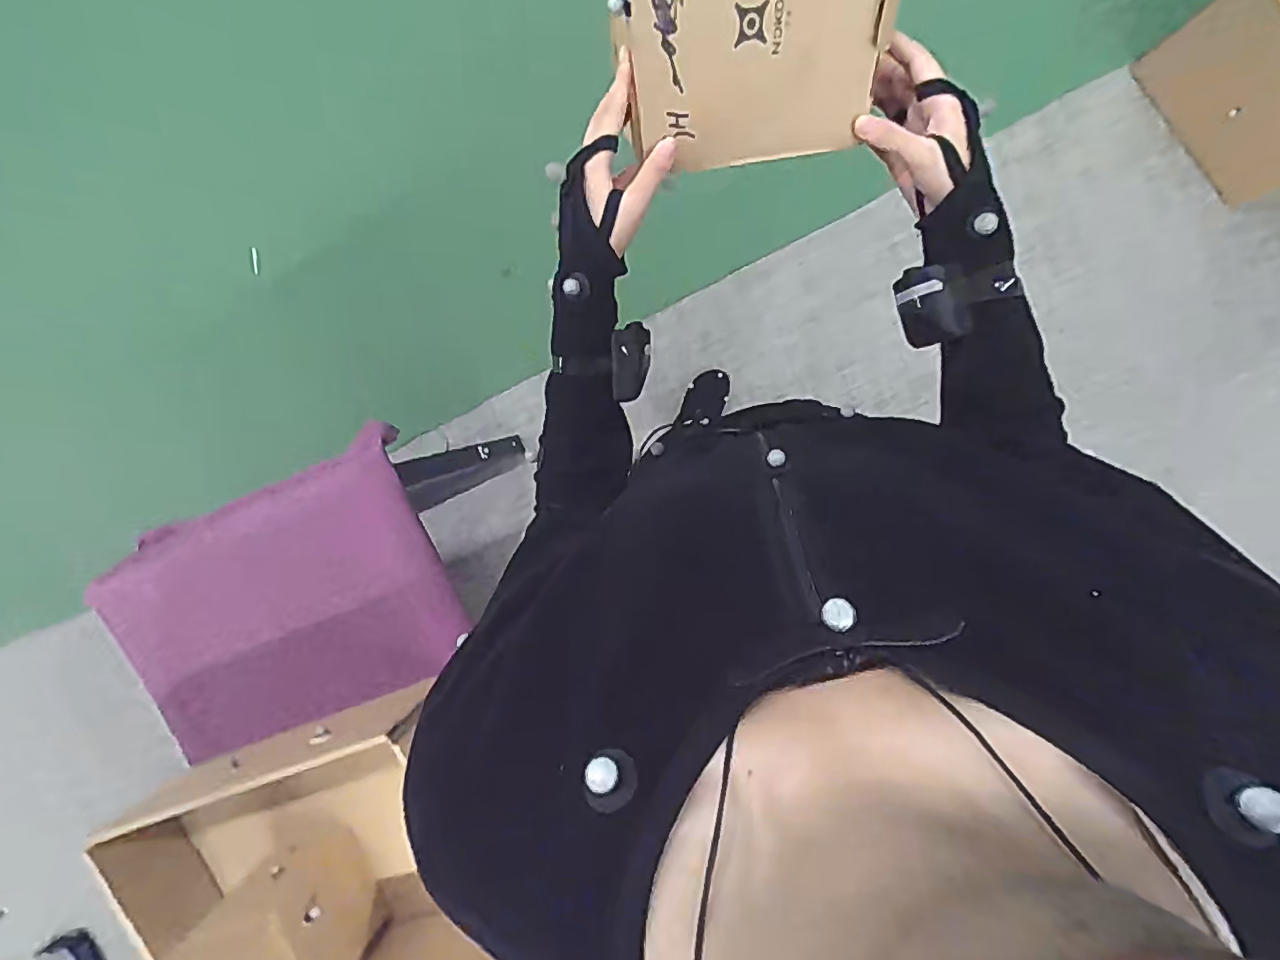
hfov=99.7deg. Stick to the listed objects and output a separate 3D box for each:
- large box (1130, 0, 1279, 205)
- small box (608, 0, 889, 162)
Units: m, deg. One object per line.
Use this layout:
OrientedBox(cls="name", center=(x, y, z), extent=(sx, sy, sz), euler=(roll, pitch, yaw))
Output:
OrientedBox(cls="large box", center=(1.316, -0.839, 1.045), extent=(0.320, 0.320, 0.408), euler=(-39, 90, 12))
OrientedBox(cls="small box", center=(0.070, -0.364, 0.412), extent=(0.179, 0.176, 0.168), euler=(-9, 134, -2))
